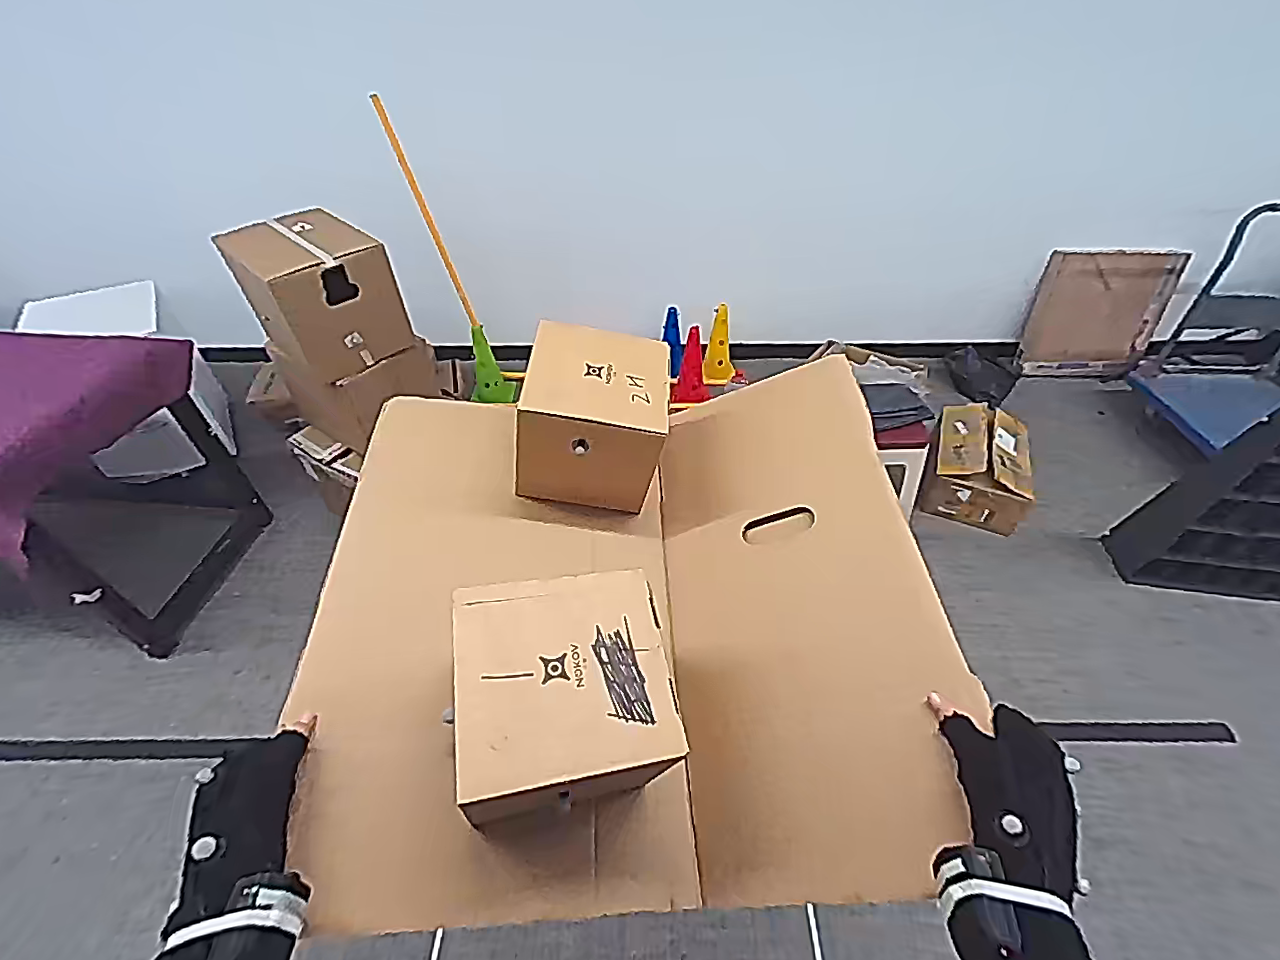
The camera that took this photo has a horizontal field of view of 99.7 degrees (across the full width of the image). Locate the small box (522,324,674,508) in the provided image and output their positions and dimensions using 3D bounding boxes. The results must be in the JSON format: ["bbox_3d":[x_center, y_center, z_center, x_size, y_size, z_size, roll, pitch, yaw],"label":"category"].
[{"bbox_3d":[-0.060,-0.080,0.733,0.179,0.176,0.168,10,52,-7],"label":"small box"}]

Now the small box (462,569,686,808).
[{"bbox_3d":[-0.076,0.201,0.520,0.179,0.176,0.168,-3,55,-16],"label":"small box"}]
